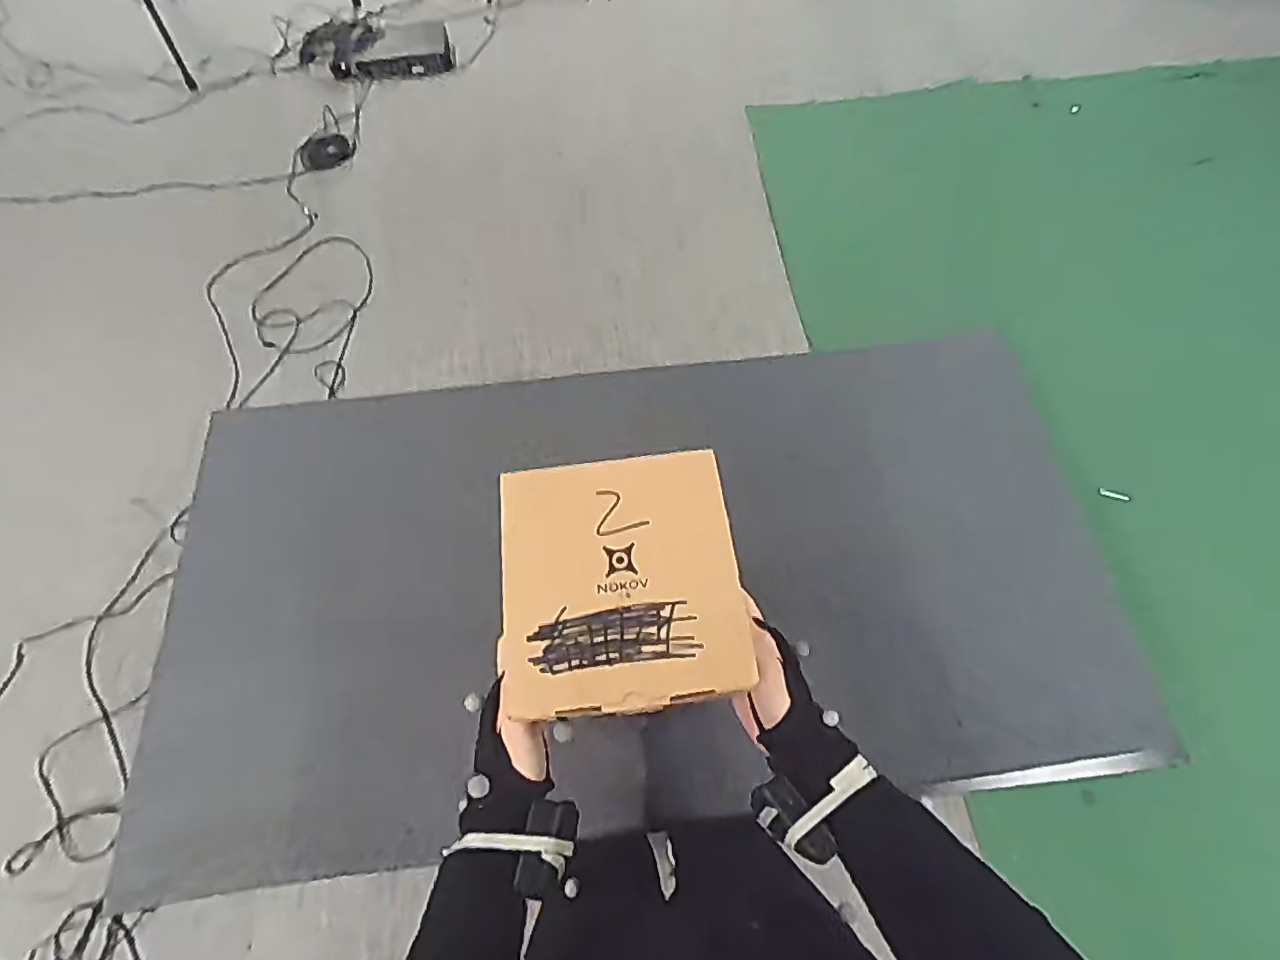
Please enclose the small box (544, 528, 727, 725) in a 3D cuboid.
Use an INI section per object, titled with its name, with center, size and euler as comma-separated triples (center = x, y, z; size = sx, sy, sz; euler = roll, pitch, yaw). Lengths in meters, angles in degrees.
[small box]
center = -0.009, 0.170, 0.604
size = 0.168, 0.176, 0.179
euler = -8, 67, -2
